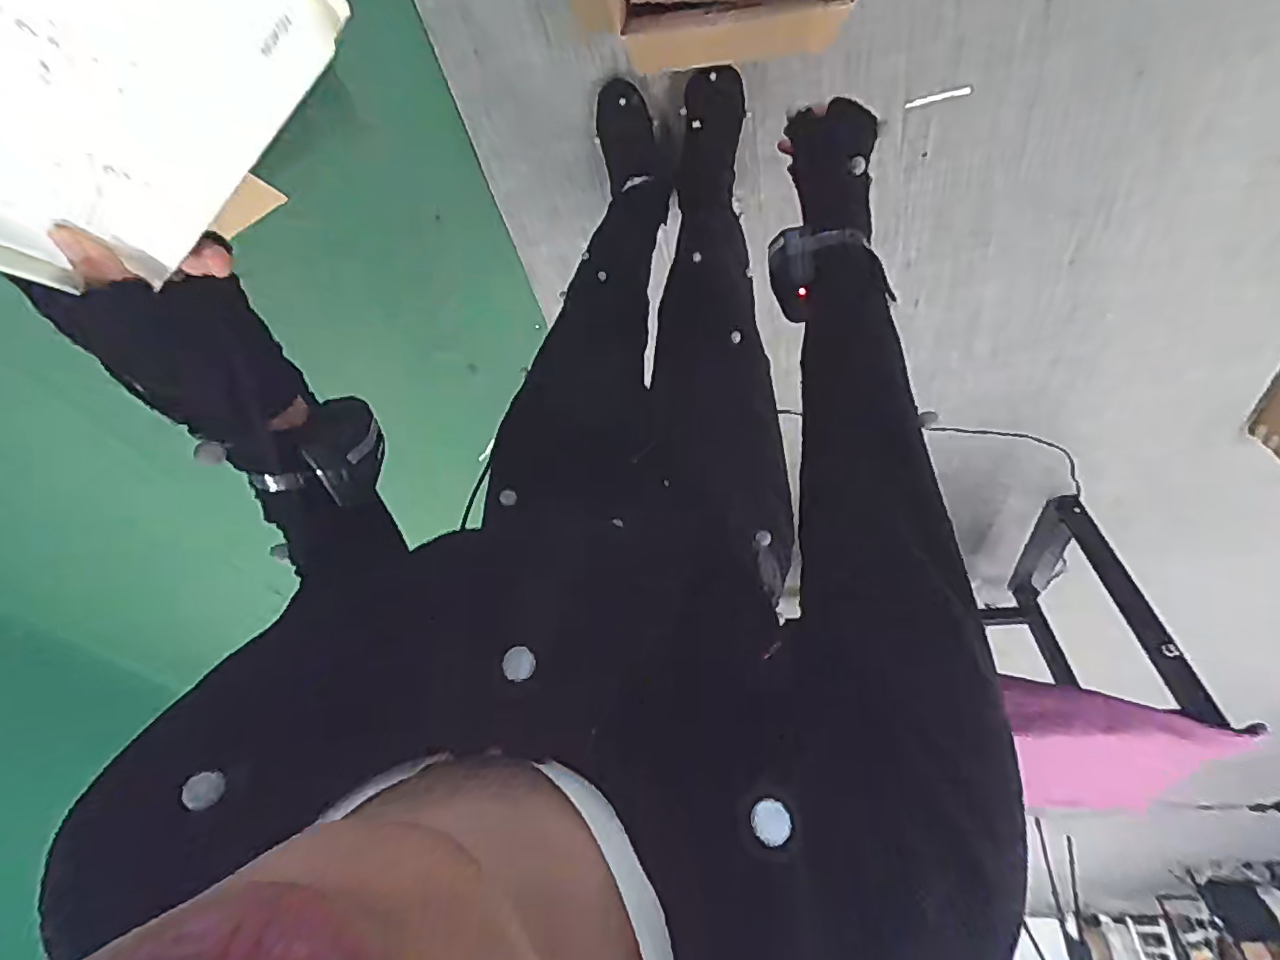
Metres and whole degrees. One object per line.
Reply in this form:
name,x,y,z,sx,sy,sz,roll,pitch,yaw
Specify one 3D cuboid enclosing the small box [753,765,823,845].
small box,0.421,0.943,1.571,0.168,0.176,0.179,-1,136,6
